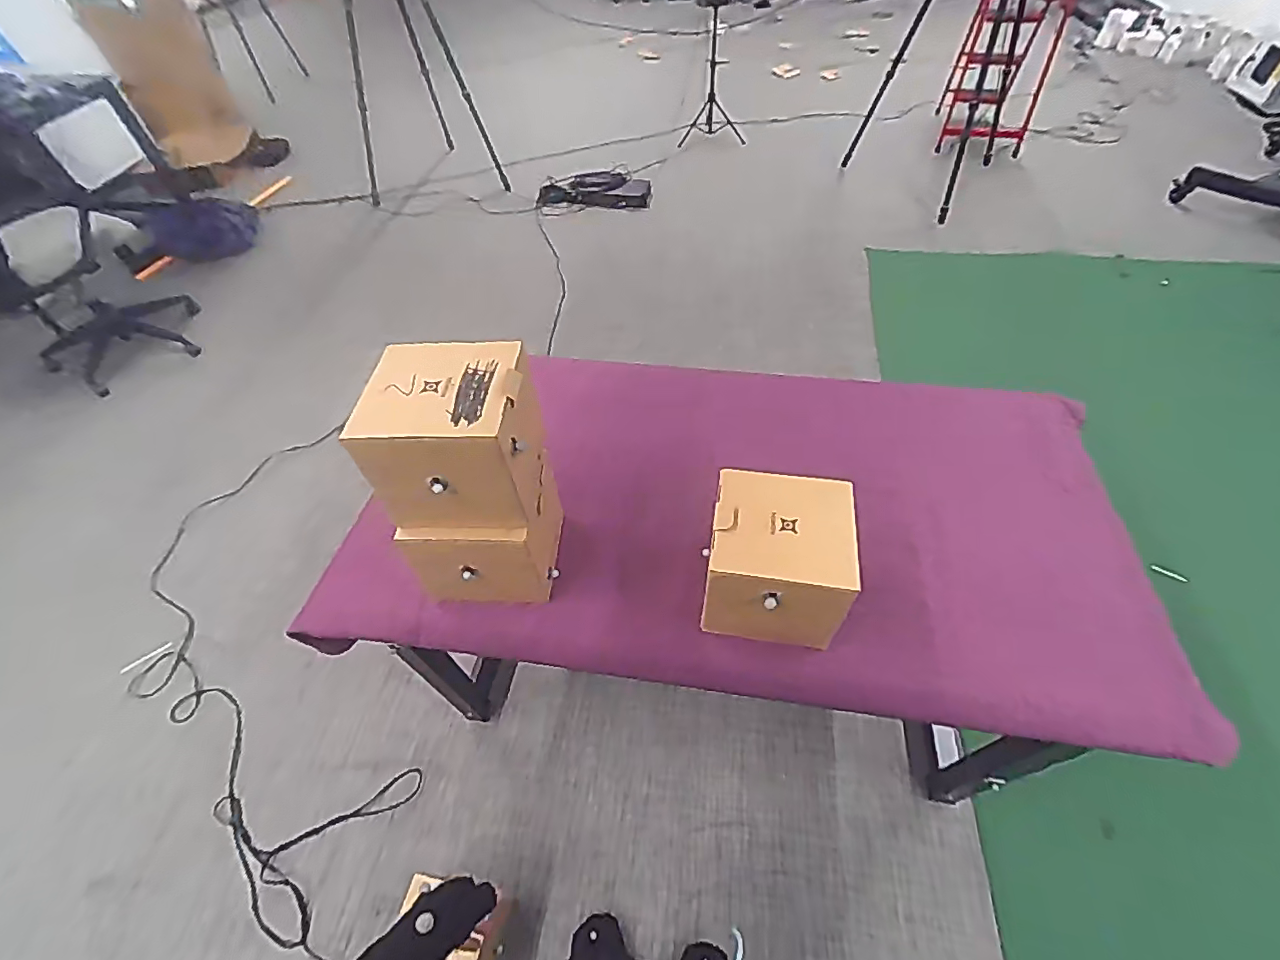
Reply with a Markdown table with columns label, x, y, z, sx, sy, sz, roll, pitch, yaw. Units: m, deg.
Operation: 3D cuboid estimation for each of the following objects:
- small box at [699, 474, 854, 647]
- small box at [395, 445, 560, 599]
| label | x | y | z | sx | sy | sz | roll | pitch | yaw |
| --- | --- | --- | --- | --- | --- | --- | --- | --- | --- |
| small box | 0.182 | 0.116 | 0.749 | 0.179 | 0.176 | 0.168 | 7 | 51 | 9 |
| small box | -0.223 | 0.066 | 0.800 | 0.179 | 0.176 | 0.168 | 1 | 51 | 4 |
